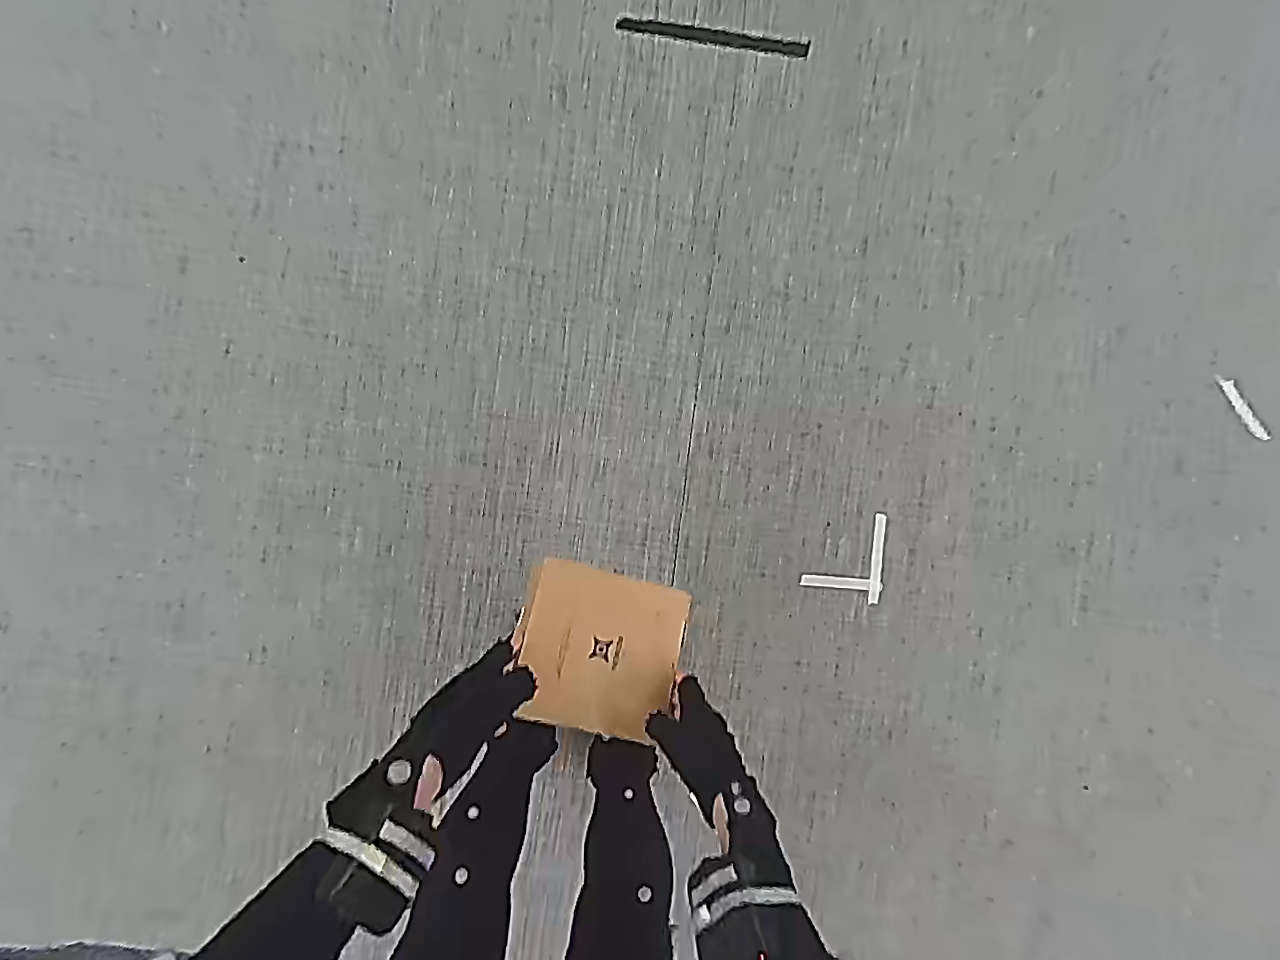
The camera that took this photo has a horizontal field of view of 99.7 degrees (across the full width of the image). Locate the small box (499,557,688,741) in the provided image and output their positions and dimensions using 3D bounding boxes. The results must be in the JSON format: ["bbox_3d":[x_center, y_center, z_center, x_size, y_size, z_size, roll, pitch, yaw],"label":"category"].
[{"bbox_3d":[-0.064,0.200,0.662,0.179,0.176,0.168,17,72,-12],"label":"small box"}]
